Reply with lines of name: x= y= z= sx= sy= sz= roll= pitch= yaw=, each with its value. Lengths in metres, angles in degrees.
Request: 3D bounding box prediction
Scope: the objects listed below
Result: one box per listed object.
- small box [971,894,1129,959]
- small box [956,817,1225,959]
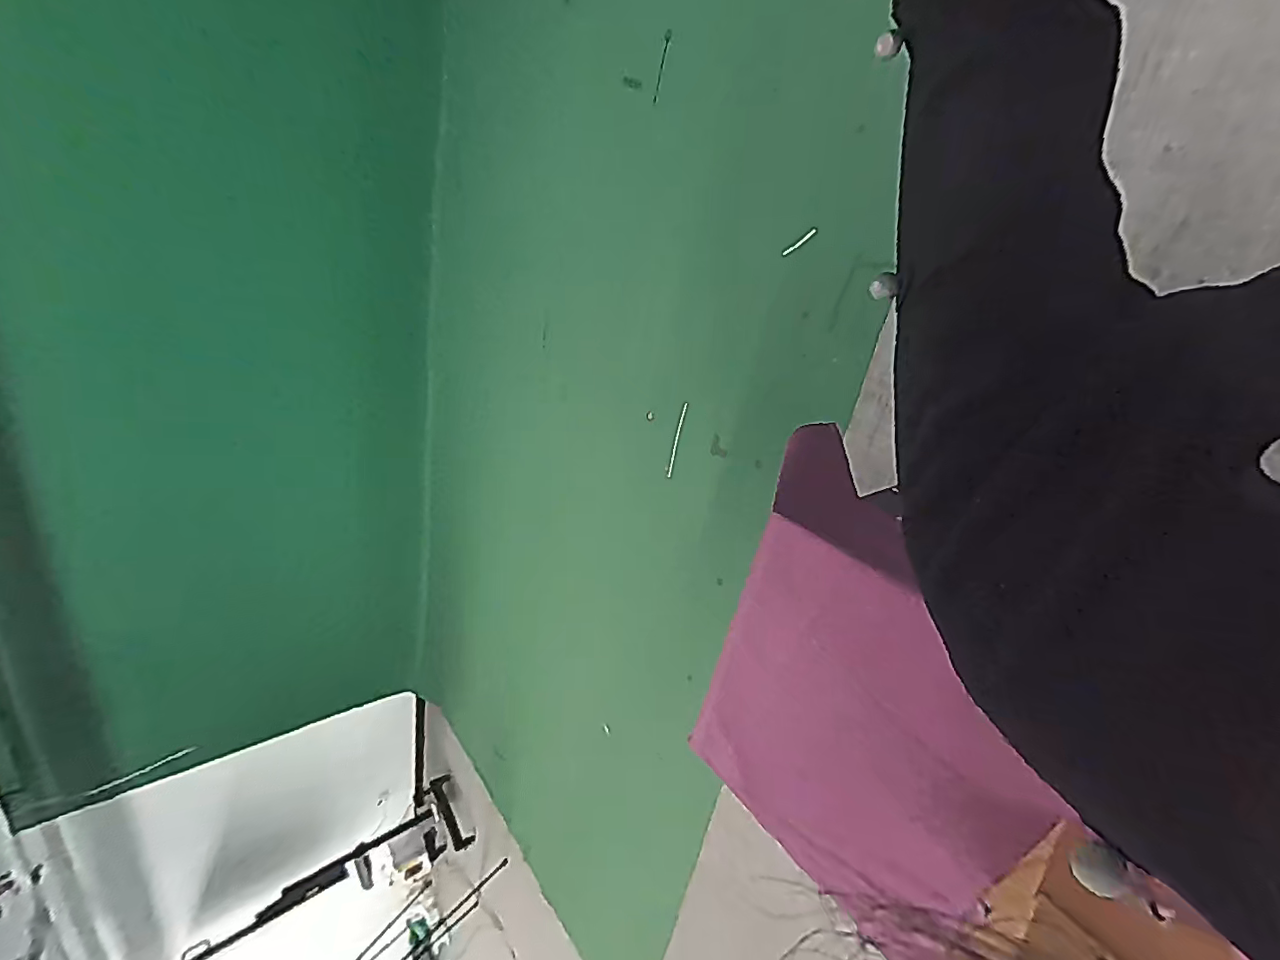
small box: x=0.391 y=0.546 z=0.495 sx=0.168 sy=0.176 sz=0.179 roll=36 pitch=123 yaw=38
small box: x=0.507 y=0.536 z=0.612 sx=0.168 sy=0.176 sz=0.179 roll=38 pitch=124 yaw=37
